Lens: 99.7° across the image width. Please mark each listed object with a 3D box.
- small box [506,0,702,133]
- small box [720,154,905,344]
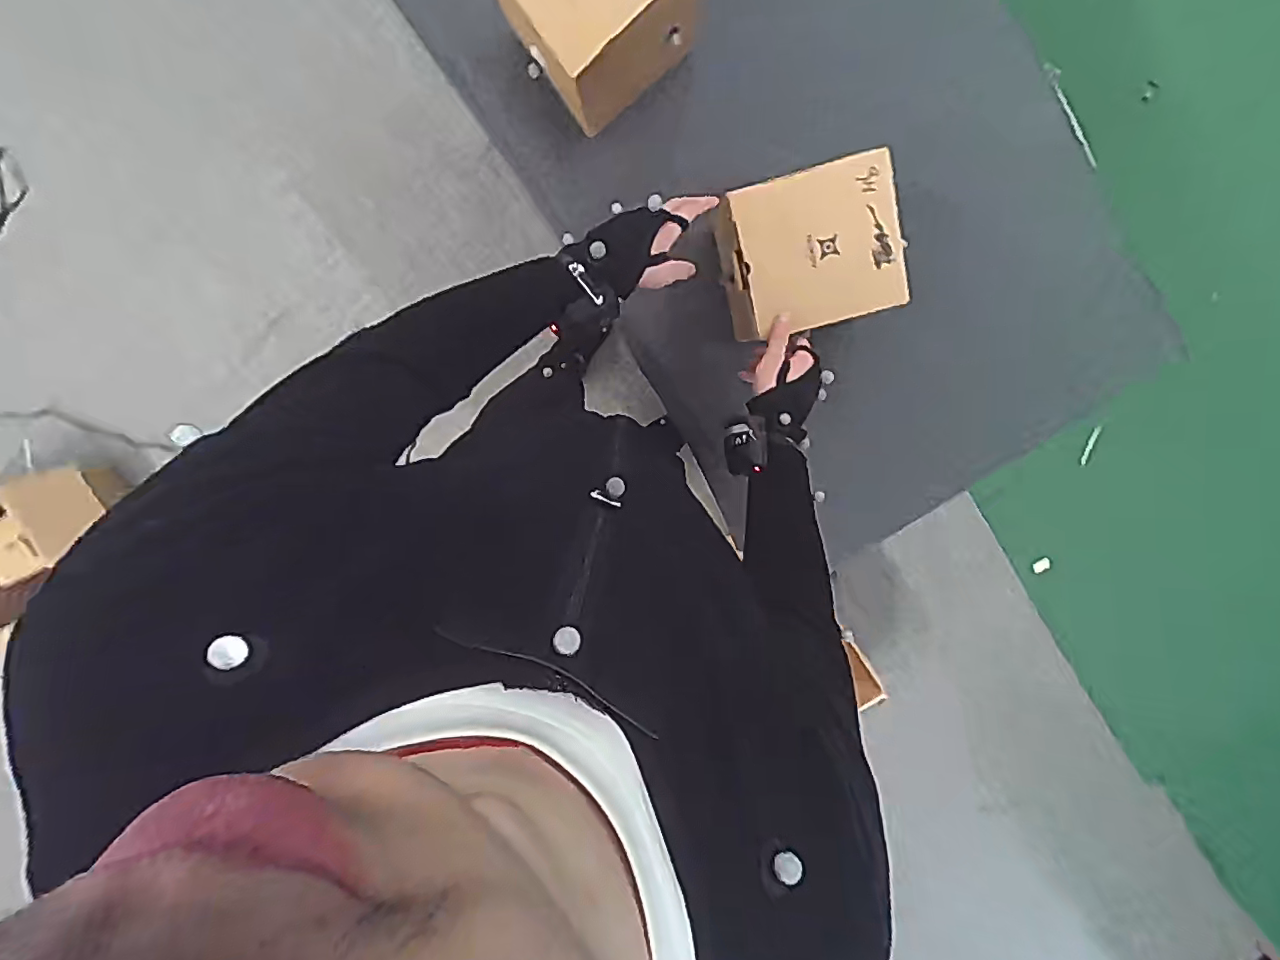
[{"bbox_3d":[-0.044,-0.541,0.604,0.179,0.176,0.168,-36,99,10],"label":"small box"},{"bbox_3d":[0.200,-0.269,0.675,0.179,0.176,0.168,-13,103,6],"label":"small box"}]
